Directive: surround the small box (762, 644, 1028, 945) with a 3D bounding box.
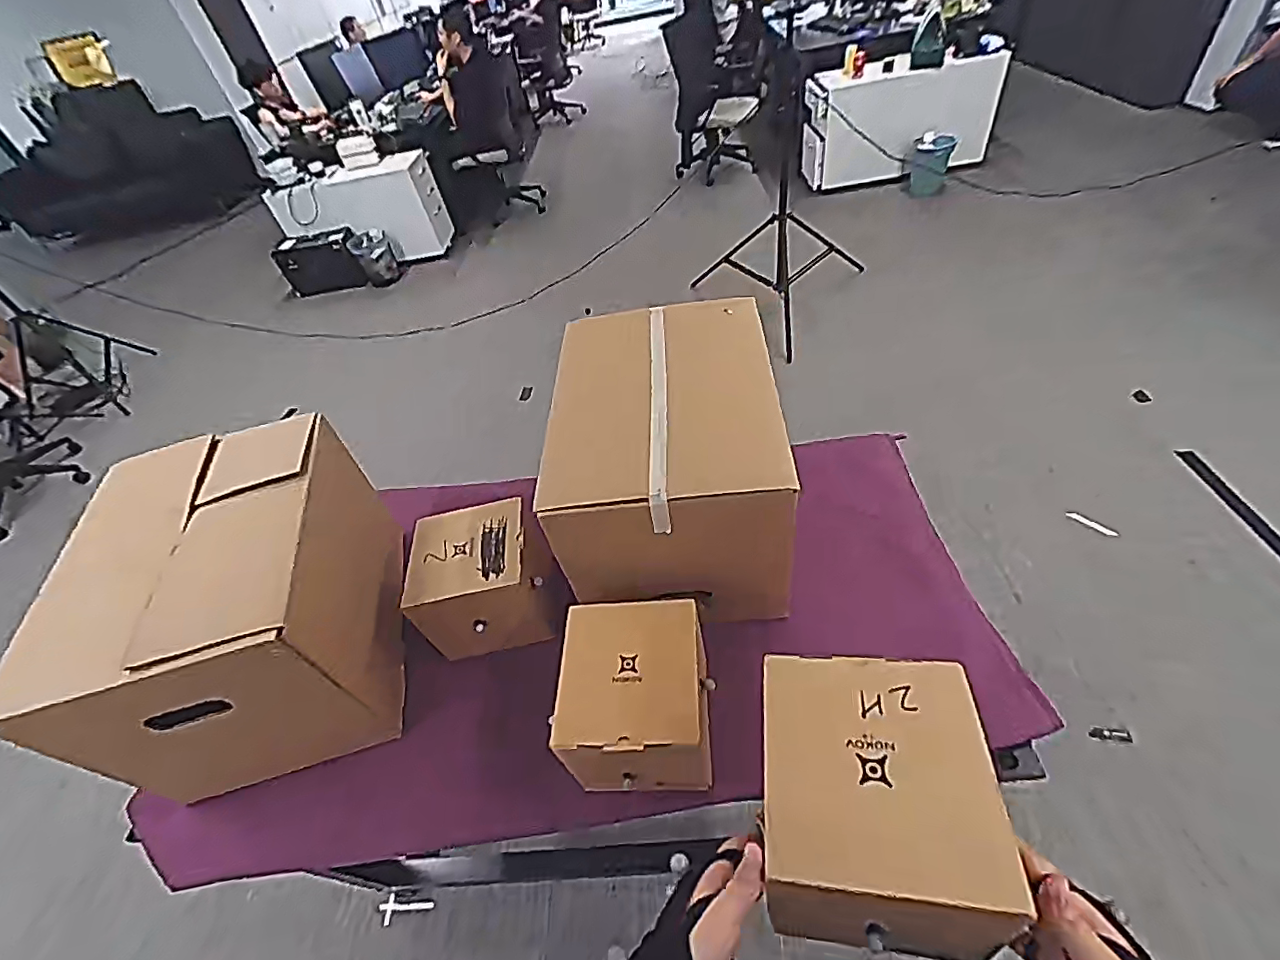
[{"bbox_3d":[0.194,0.266,0.466,0.168,0.176,0.179,-2,40,14],"label":"small box"}]
